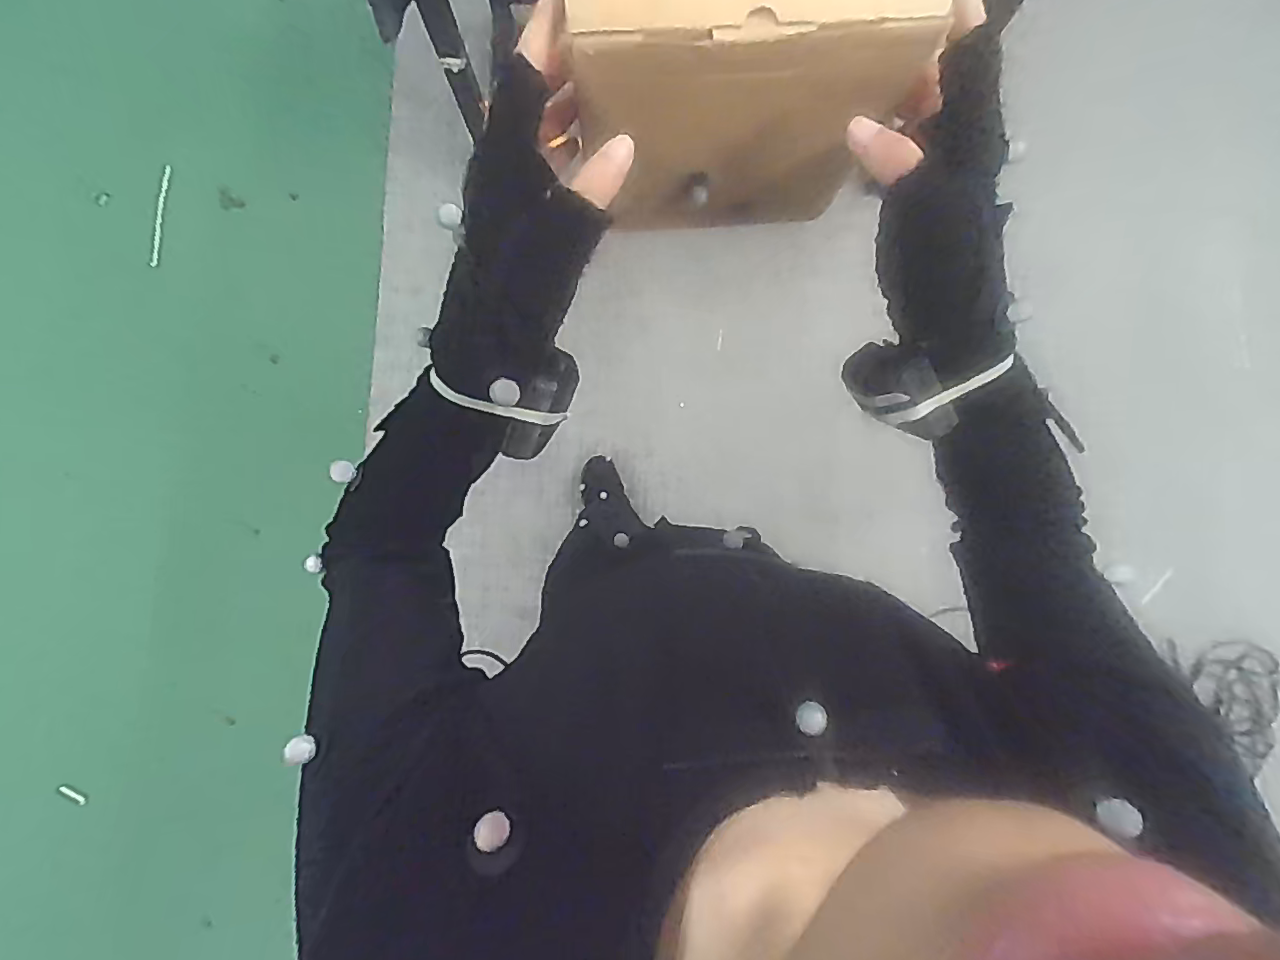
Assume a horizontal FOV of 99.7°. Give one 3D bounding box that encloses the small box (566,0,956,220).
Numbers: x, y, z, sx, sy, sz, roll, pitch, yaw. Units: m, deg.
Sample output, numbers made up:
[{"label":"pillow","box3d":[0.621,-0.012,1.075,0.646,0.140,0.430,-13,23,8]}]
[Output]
[{"label":"small box","box3d":[0.043,-0.275,0.303,0.168,0.176,0.179,-4,89,-1]}]
